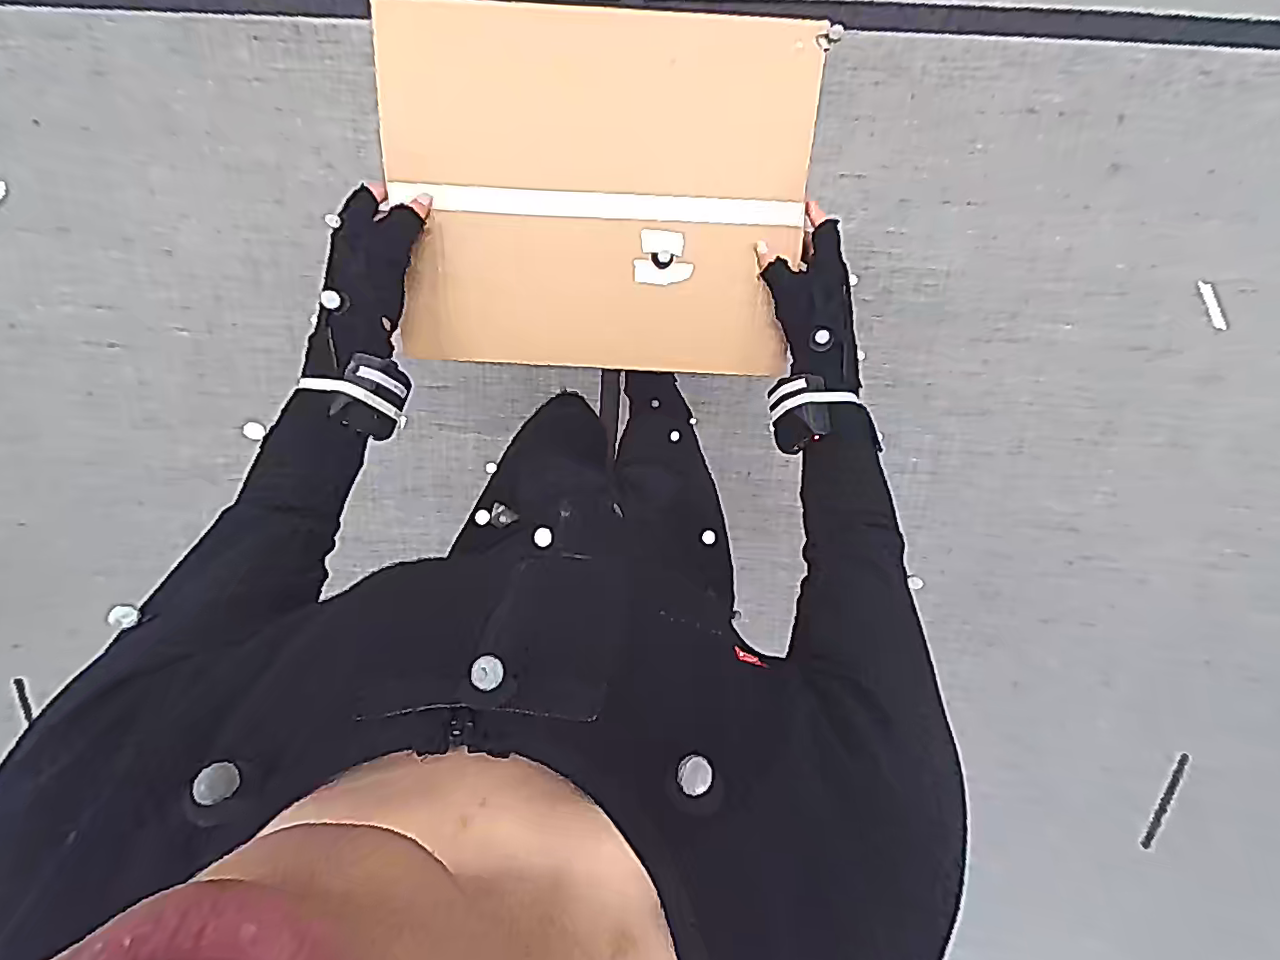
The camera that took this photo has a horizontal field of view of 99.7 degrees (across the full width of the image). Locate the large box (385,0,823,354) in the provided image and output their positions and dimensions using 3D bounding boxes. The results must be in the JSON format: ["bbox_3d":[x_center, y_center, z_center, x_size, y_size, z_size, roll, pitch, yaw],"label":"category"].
[{"bbox_3d":[-0.039,-0.334,0.673,0.408,0.320,0.320,2,110,-2],"label":"large box"}]
